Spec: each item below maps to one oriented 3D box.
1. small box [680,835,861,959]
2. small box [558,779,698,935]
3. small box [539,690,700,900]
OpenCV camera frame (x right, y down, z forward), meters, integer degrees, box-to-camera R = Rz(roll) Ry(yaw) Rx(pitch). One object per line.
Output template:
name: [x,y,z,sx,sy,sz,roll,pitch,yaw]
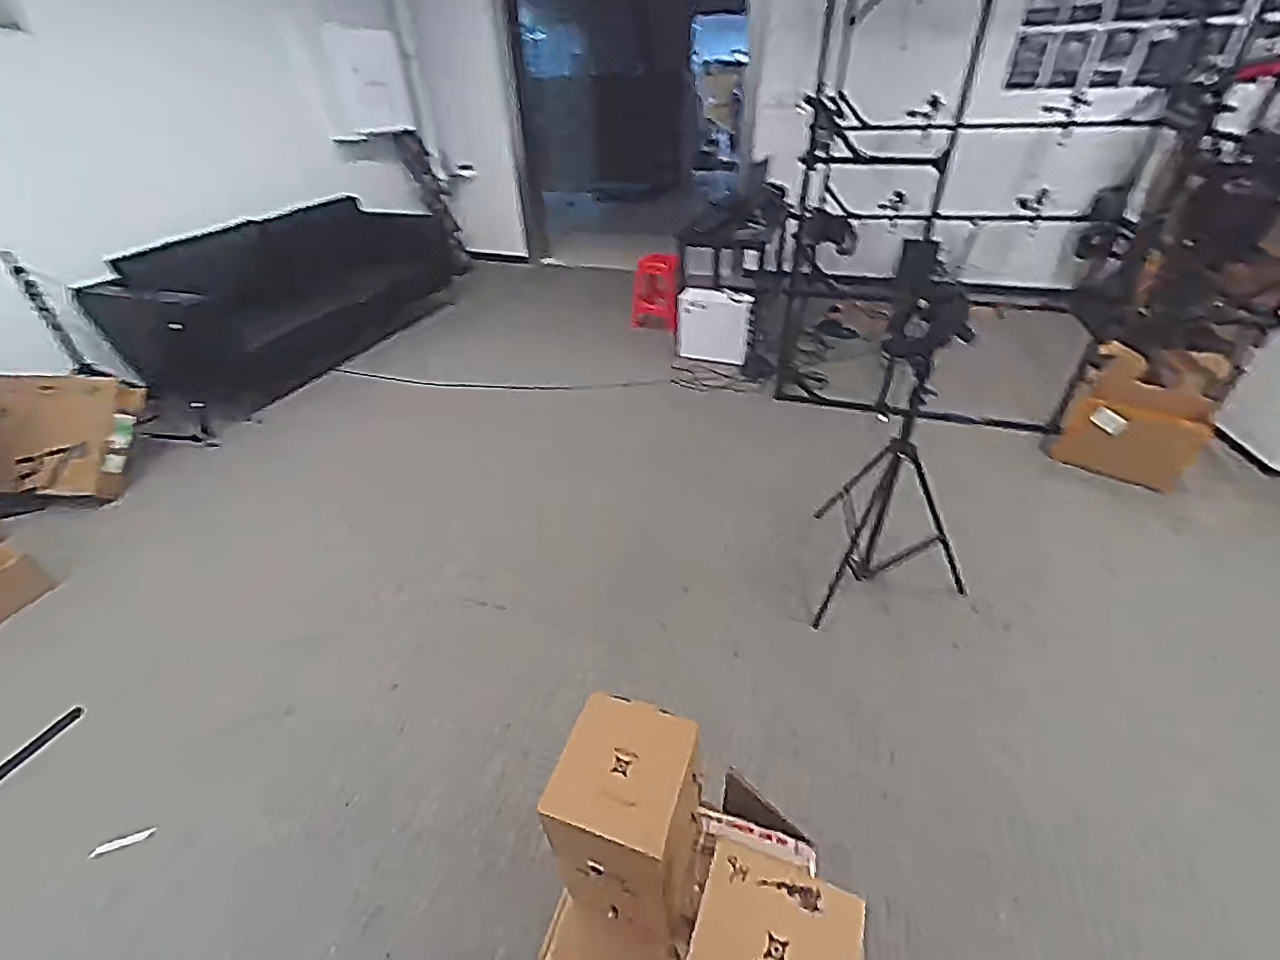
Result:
small box: [0.134,0.549,0.599,0.168,0.176,0.179,13,41,19]
small box: [-0.011,0.565,0.855,0.168,0.176,0.179,10,39,18]
small box: [-0.018,0.436,0.757,0.168,0.176,0.179,9,39,18]
